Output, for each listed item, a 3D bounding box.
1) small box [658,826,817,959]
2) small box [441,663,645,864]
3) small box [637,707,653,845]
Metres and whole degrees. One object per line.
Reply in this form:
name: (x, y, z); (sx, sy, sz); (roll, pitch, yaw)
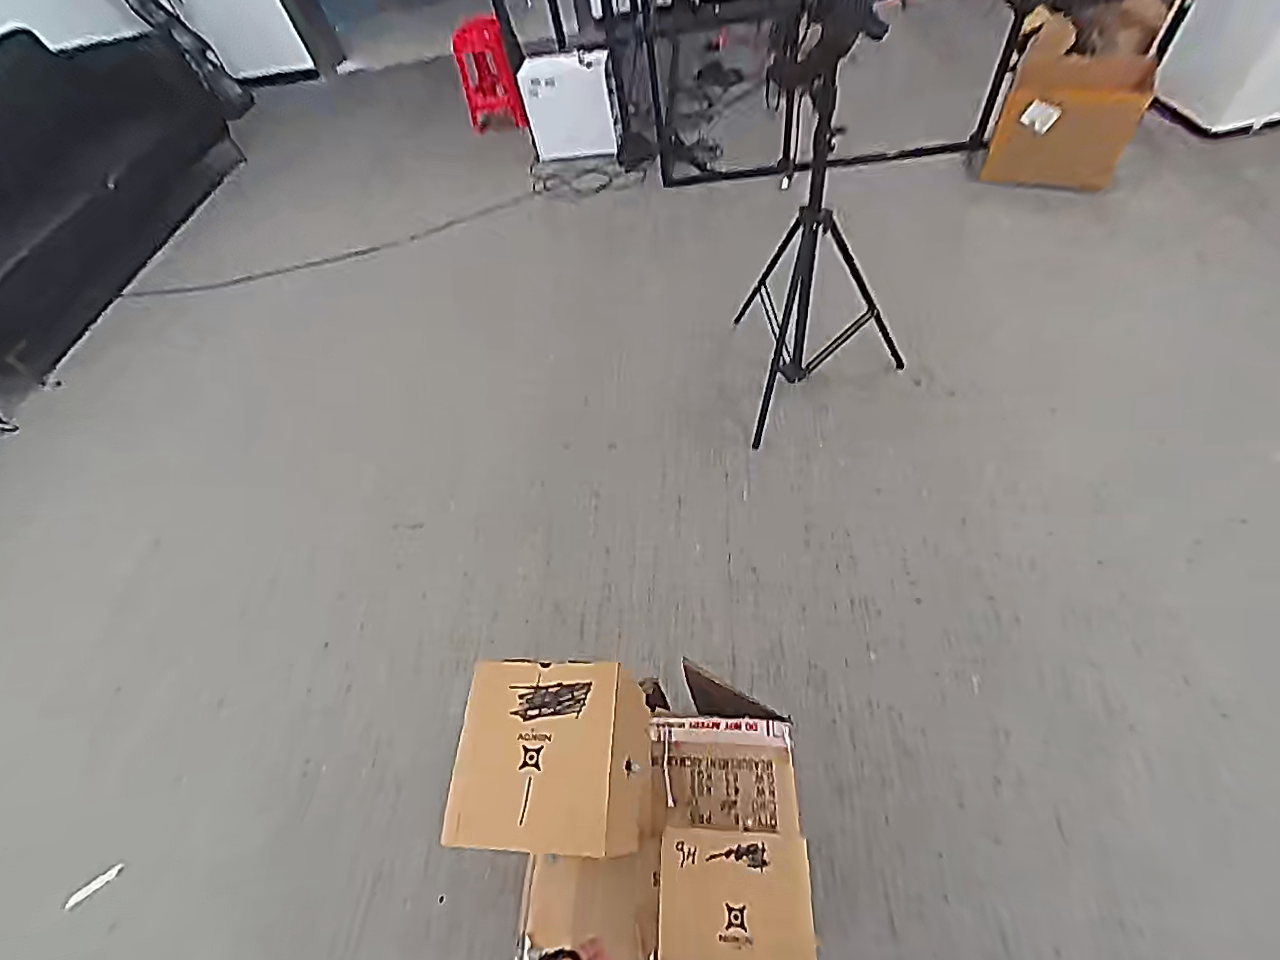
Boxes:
small box: (0.113, 0.518, 0.635); (0.168, 0.176, 0.179); (-1, 58, 8)
small box: (-0.091, 0.316, 0.608); (0.168, 0.176, 0.179); (-3, 58, 11)
small box: (-0.076, 0.401, 0.749); (0.168, 0.176, 0.179); (-6, 57, 9)
